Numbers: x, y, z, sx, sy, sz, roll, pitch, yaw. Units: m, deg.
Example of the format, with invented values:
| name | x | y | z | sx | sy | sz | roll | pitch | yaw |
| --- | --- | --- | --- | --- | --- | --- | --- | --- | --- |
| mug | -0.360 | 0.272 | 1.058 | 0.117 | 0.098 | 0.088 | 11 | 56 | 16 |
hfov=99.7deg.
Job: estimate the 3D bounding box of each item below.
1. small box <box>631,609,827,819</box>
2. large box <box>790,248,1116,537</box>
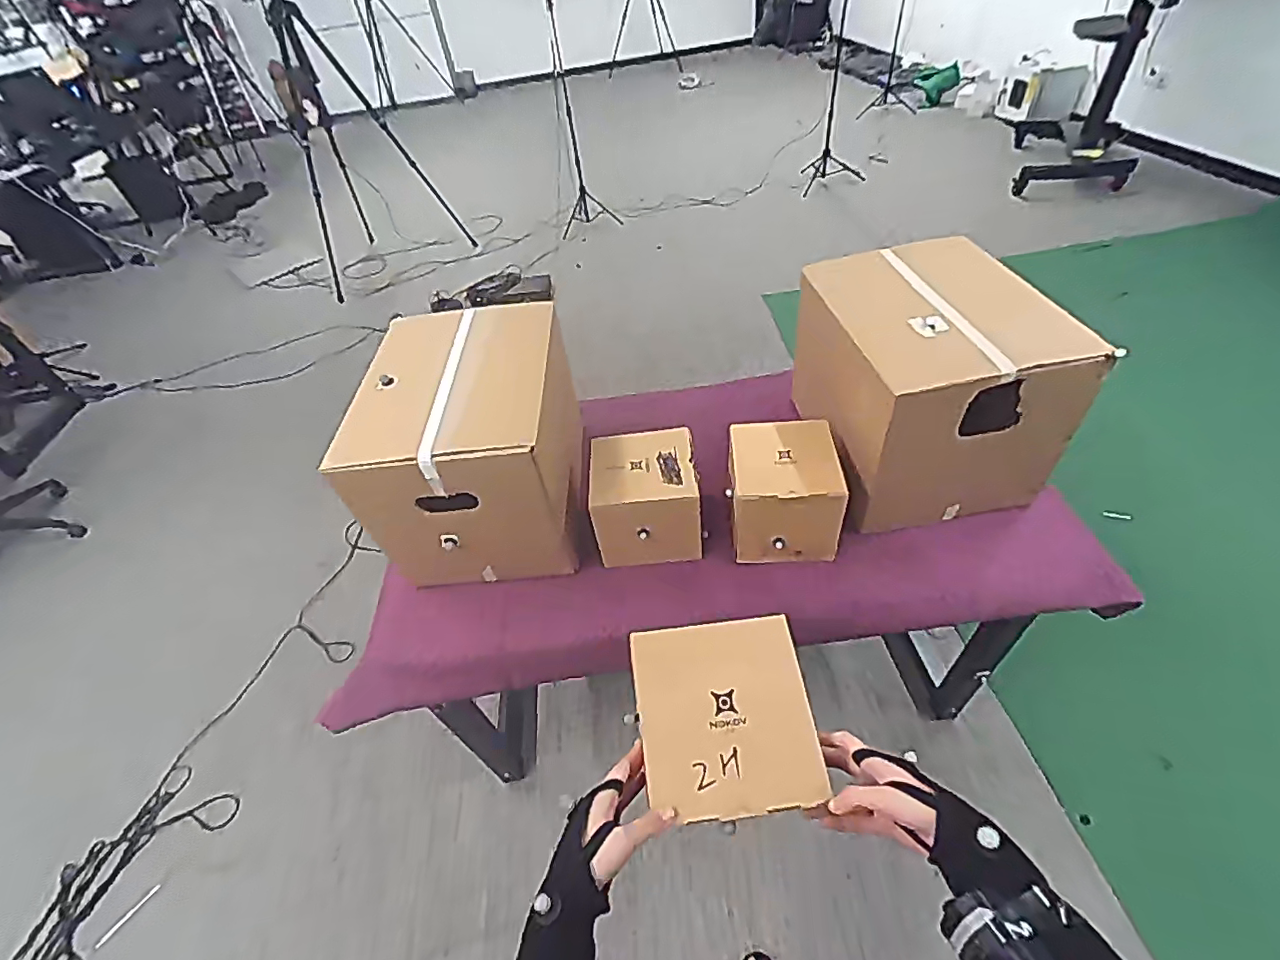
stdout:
| name | x | y | z | sx | sy | sz | roll | pitch | yaw |
| --- | --- | --- | --- | --- | --- | --- | --- | --- | --- |
| small box | 0.079 | 0.258 | 0.588 | 0.168 | 0.176 | 0.179 | -6 | 58 | -2 |
| large box | 0.492 | -0.165 | 0.977 | 0.320 | 0.320 | 0.408 | -11 | 46 | 1 |
